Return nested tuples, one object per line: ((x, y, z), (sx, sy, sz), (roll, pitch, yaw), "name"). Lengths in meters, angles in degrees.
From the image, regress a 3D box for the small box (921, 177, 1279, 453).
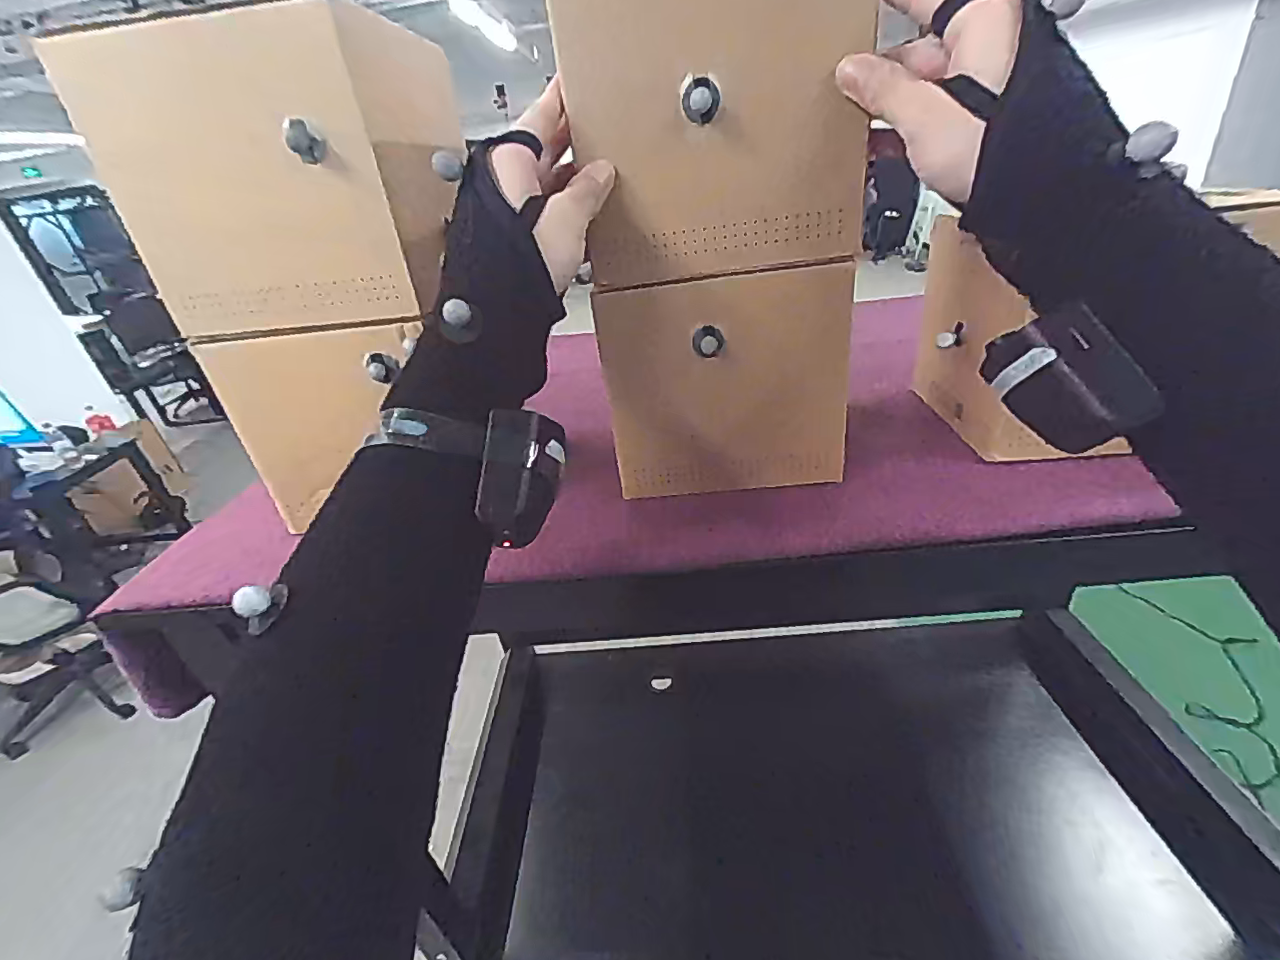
((0.343, -0.132, 0.433), (0.179, 0.176, 0.168), (-6, 30, 8), "small box")

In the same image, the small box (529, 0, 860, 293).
((0.043, -0.244, 0.380), (0.179, 0.176, 0.168), (-6, 31, 9), "small box")

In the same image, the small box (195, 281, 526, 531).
((-0.218, -0.067, 0.481), (0.179, 0.176, 0.168), (-4, 30, 5), "small box")
